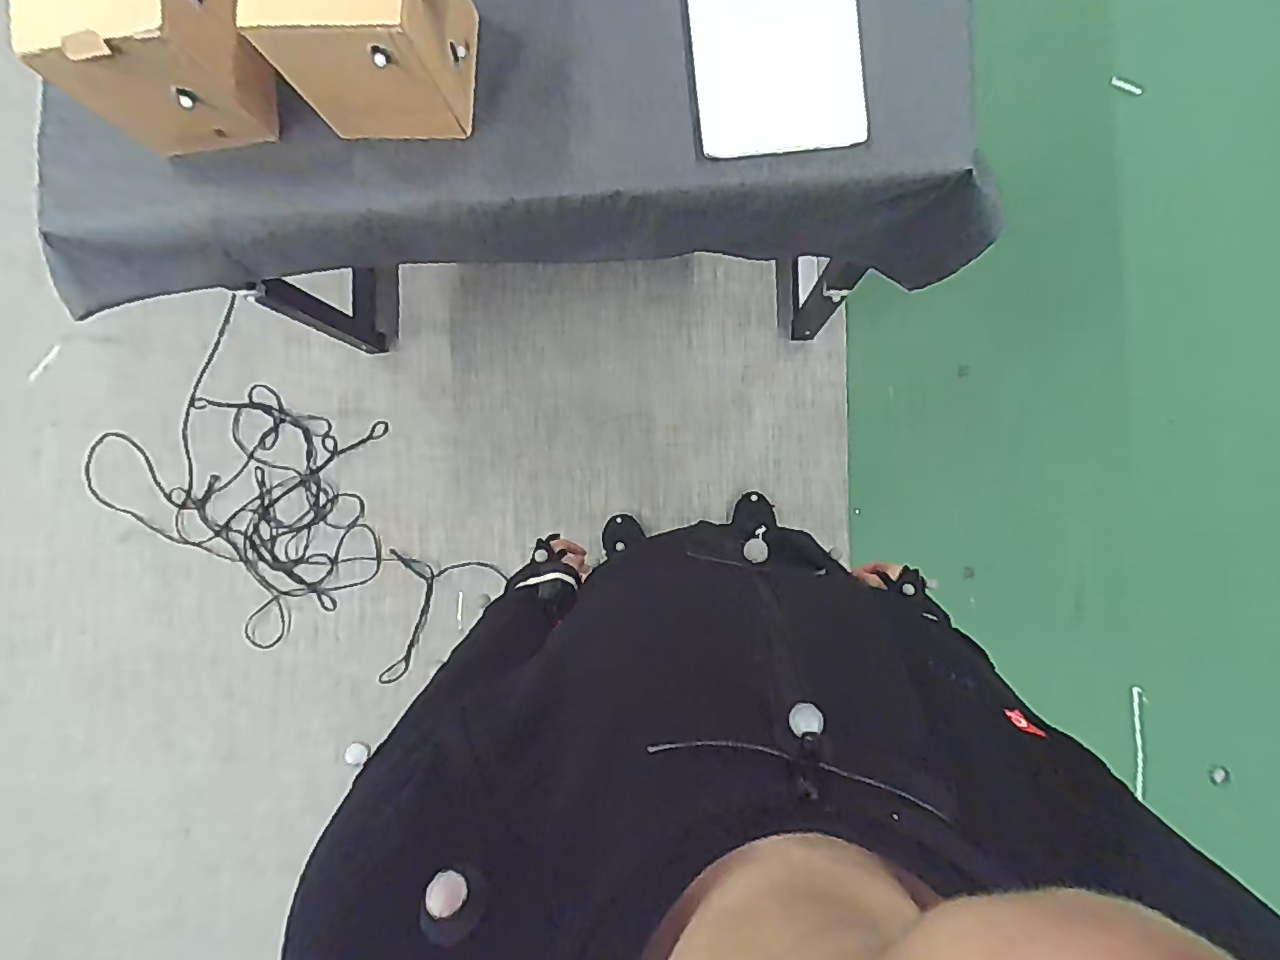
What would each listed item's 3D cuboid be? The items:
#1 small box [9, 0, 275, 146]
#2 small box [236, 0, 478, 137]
[{"bbox_3d":[-0.563,-0.524,0.632,0.168,0.176,0.179,-6,86,3],"label":"small box"},{"bbox_3d":[-0.304,-0.521,0.612,0.179,0.176,0.168,3,88,4],"label":"small box"}]
